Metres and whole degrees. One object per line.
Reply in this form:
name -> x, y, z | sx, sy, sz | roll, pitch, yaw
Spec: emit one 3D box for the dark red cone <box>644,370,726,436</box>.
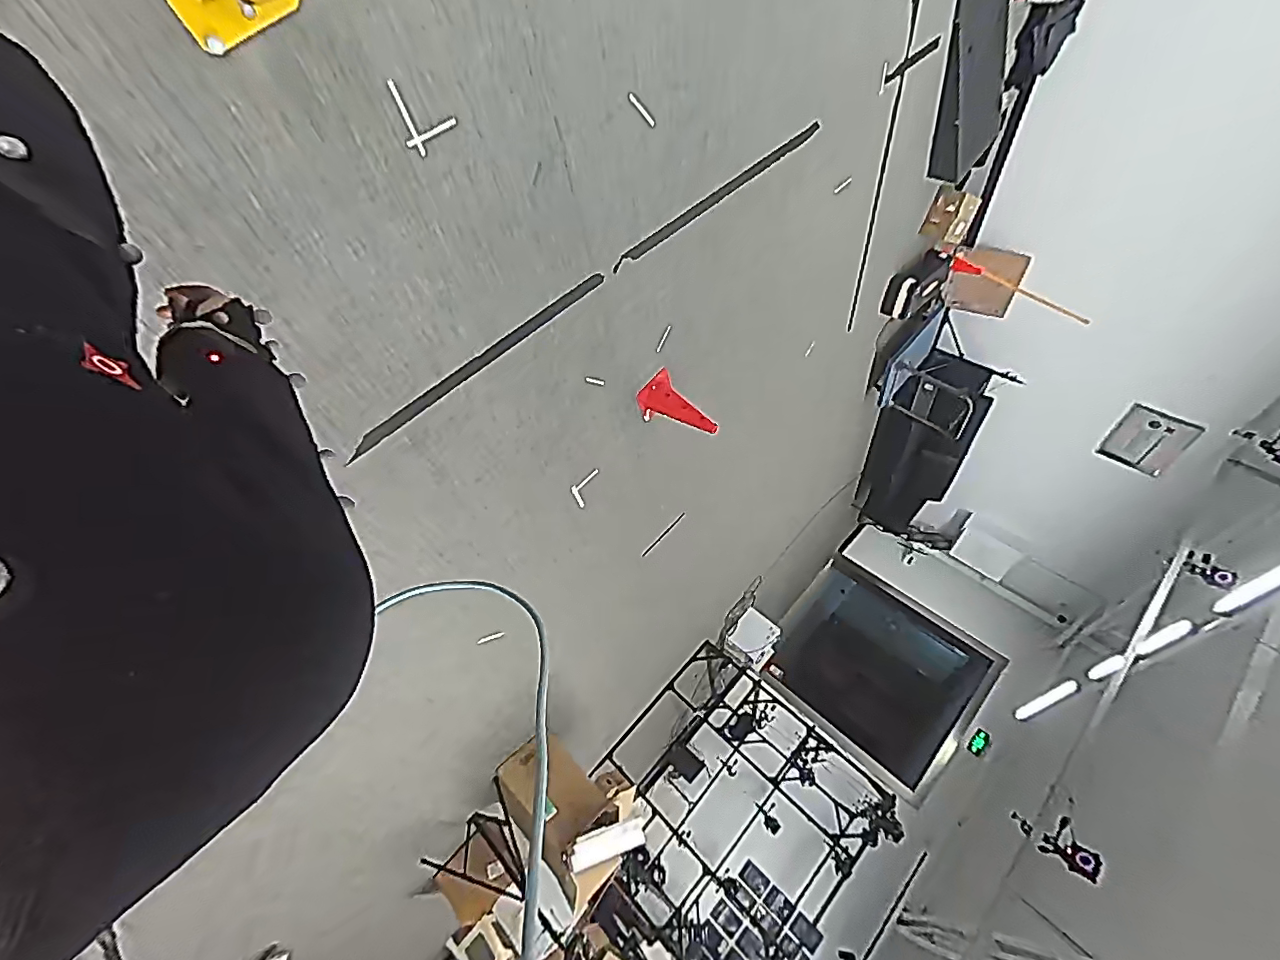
dark red cone -> 0.215, -0.300, 2.373 | 0.202, 0.394, 0.201 | -47, 149, -13
